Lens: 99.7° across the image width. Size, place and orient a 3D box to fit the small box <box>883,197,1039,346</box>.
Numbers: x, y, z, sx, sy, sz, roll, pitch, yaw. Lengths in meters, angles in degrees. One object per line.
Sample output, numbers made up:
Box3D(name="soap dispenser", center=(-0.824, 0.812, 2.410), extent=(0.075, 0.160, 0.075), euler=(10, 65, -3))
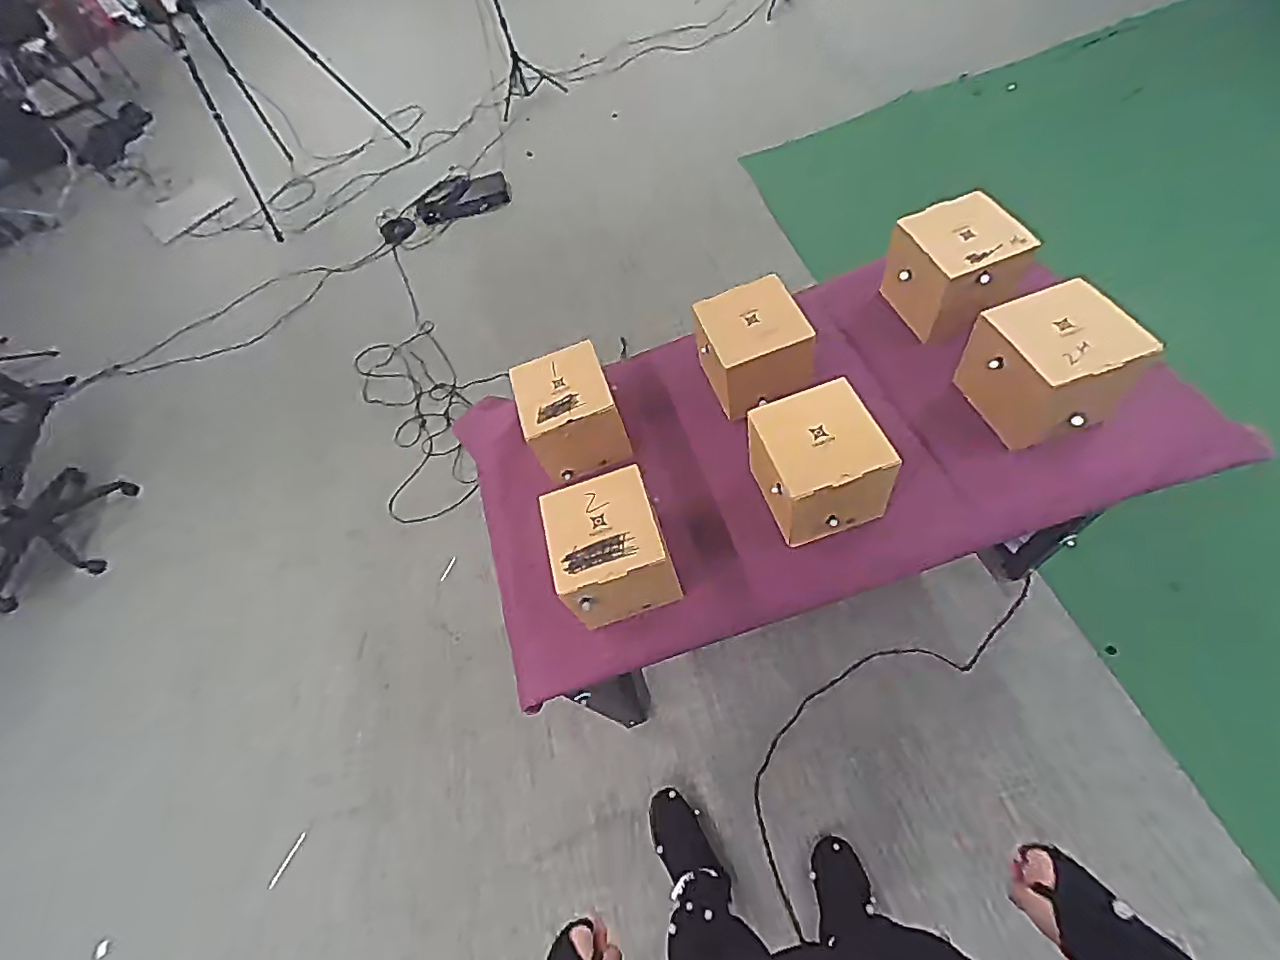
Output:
Box3D(name="small box", center=(0.586, -0.387, 1.019), extent=(0.168, 0.176, 0.179), euler=(-20, 58, 2))

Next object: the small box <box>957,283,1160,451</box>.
Box3D(name="small box", center=(0.652, -0.177, 0.876), extent=(0.168, 0.176, 0.179), euler=(-19, 56, 3))

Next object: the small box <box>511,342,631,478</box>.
Box3D(name="small box", center=(-0.127, -0.124, 1.032), extent=(0.168, 0.176, 0.179), euler=(-20, 57, 0))

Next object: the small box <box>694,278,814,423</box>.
Box3D(name="small box", center=(0.211, -0.240, 1.024), extent=(0.168, 0.176, 0.179), euler=(-20, 58, 2))
